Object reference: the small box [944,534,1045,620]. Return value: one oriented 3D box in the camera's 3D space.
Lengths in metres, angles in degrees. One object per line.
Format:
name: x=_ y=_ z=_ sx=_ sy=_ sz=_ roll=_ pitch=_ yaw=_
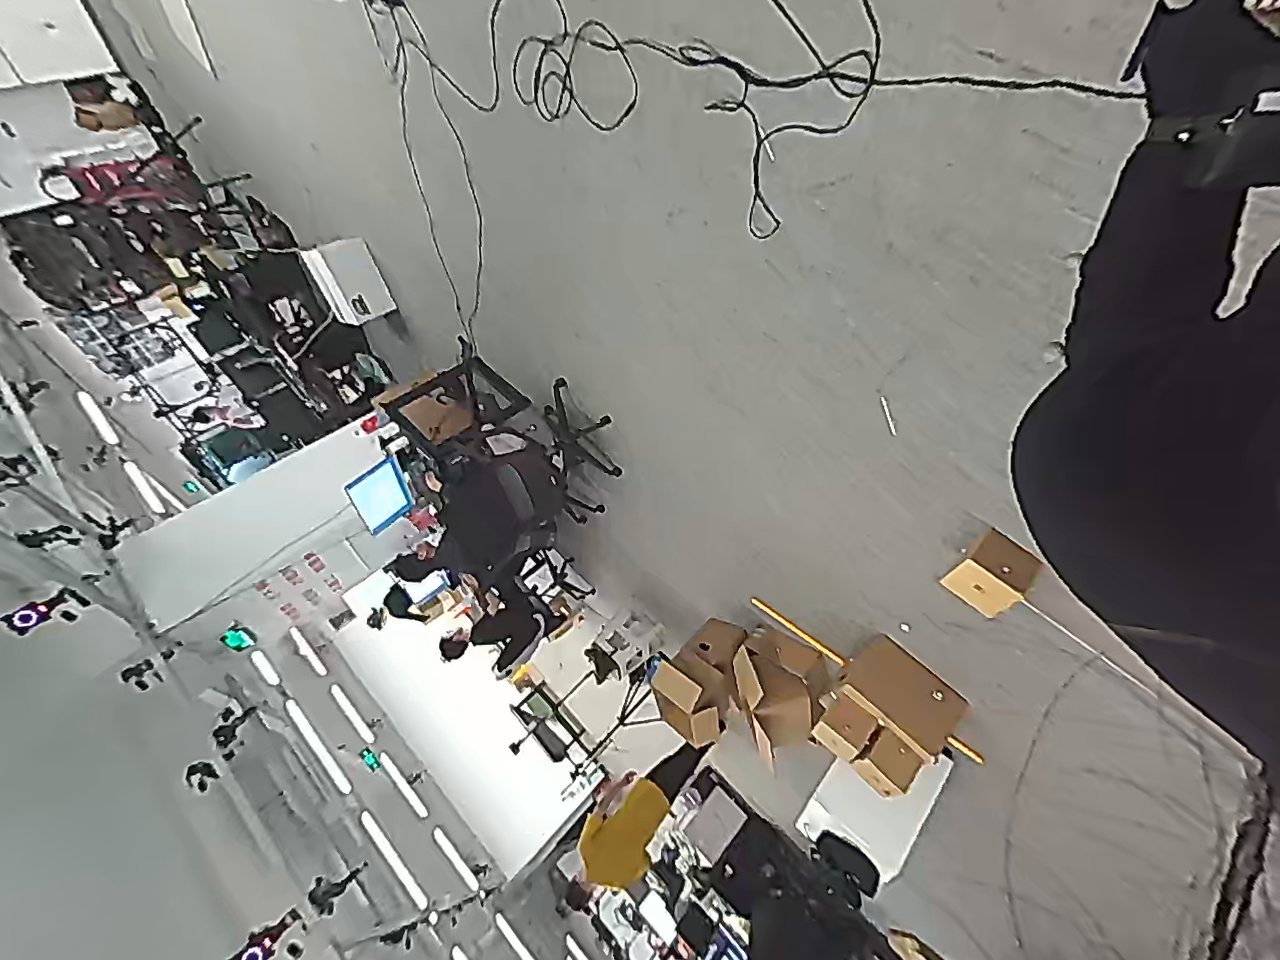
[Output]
small box: x=1.100 y=0.292 z=1.677 sx=0.179 sy=0.176 sz=0.168 roll=39 pitch=149 yaw=20
